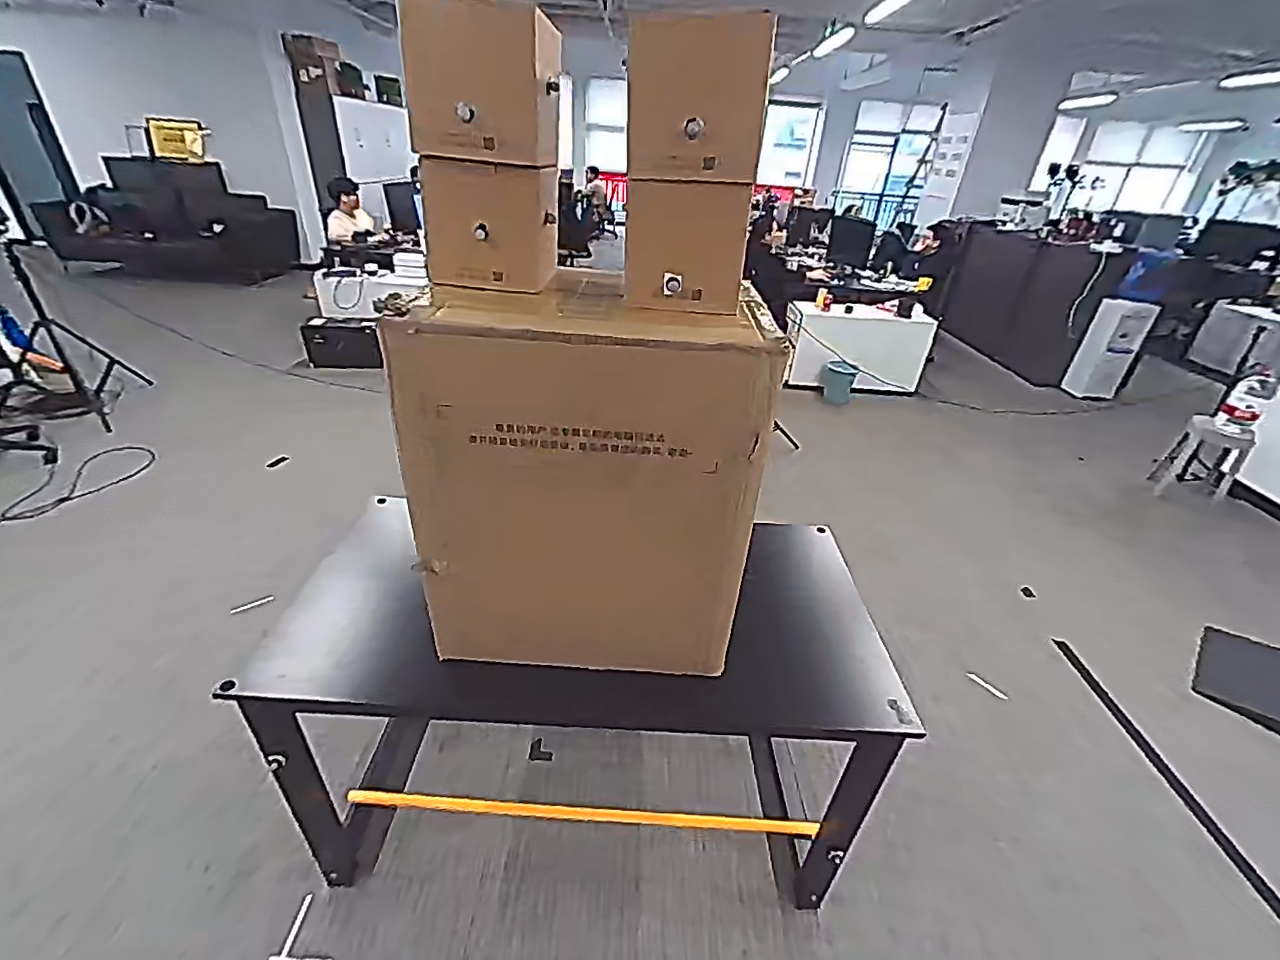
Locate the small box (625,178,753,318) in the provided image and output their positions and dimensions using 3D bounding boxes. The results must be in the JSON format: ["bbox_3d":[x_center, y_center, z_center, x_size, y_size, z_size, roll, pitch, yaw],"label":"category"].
[{"bbox_3d":[0.068,-0.351,0.805,0.168,0.176,0.179,3,32,3],"label":"small box"}]

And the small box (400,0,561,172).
[{"bbox_3d":[-0.205,-0.528,0.739,0.168,0.176,0.179,5,31,0],"label":"small box"}]

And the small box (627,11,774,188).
[{"bbox_3d":[0.074,-0.488,0.713,0.168,0.176,0.179,4,31,5],"label":"small box"}]

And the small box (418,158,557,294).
[{"bbox_3d":[-0.222,-0.395,0.838,0.168,0.176,0.179,5,31,-2],"label":"small box"}]
